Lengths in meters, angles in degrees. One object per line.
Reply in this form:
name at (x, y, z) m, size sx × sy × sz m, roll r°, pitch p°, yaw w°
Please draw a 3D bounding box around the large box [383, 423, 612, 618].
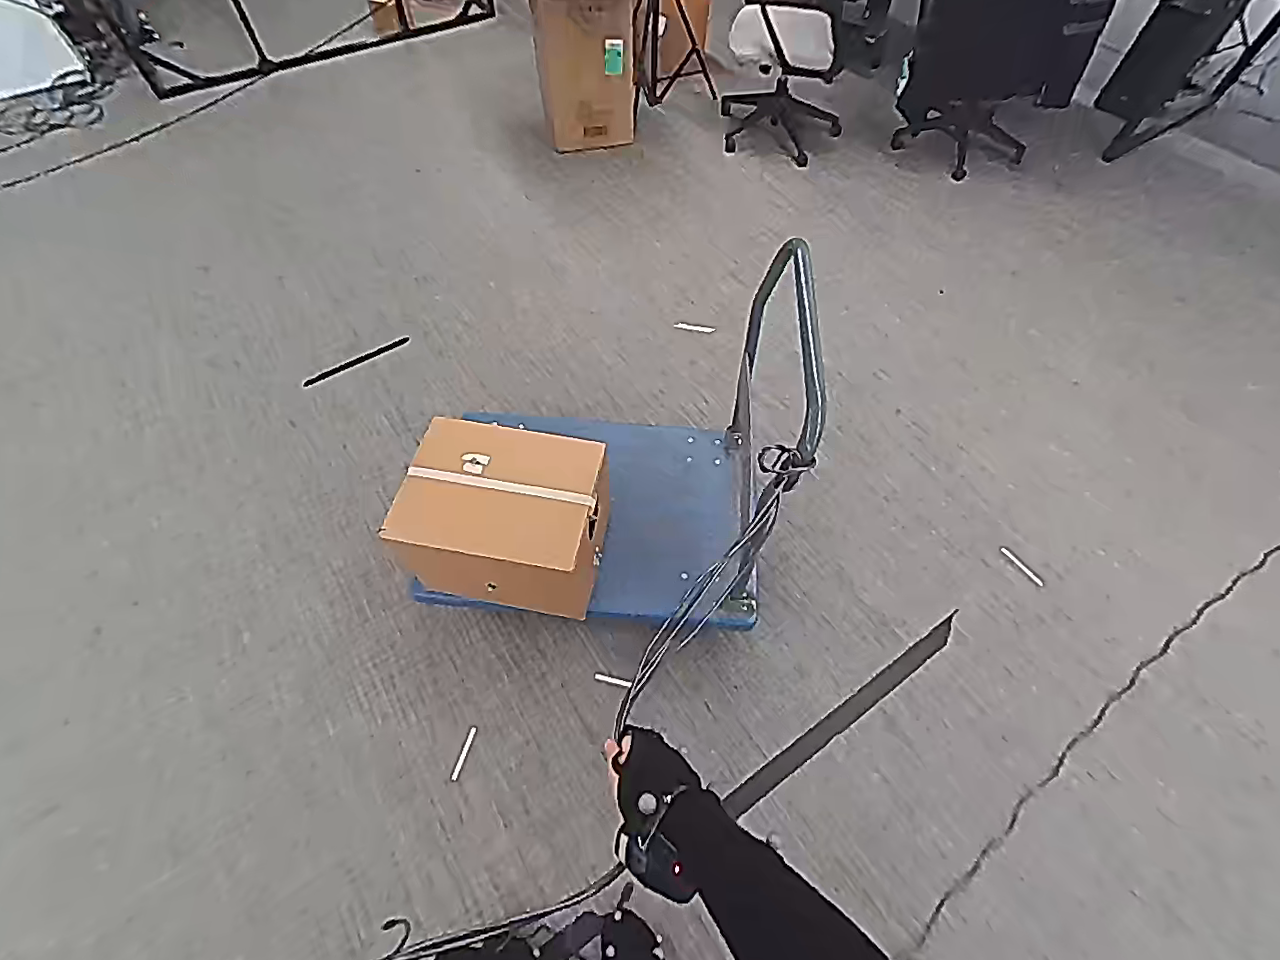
large box at (-0.291, 0.102, 1.259) m, size 0.408 × 0.320 × 0.320 m, roll 9°, pitch 58°, yaw 6°
